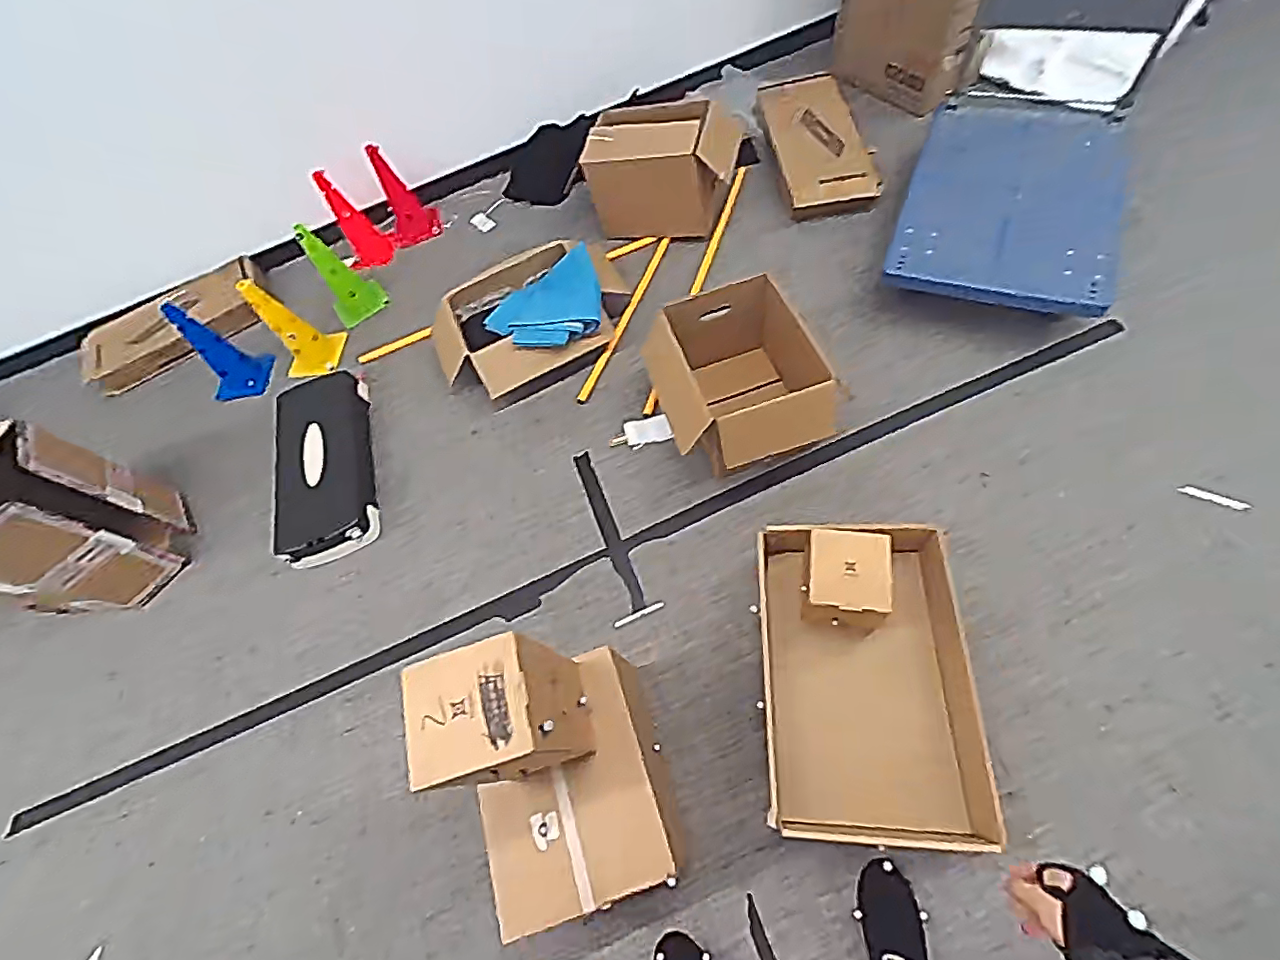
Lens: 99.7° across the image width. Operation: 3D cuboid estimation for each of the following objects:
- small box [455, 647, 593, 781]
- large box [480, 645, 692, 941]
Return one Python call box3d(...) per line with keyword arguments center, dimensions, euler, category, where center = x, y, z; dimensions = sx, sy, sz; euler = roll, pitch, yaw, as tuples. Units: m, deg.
box3d(center=(-0.199, 0.415, 0.954), dimensions=(0.179, 0.176, 0.168), euler=(-19, 63, 1), category="small box")
box3d(center=(-0.116, 0.611, 1.117), dimensions=(0.320, 0.320, 0.408), euler=(-22, 62, 0), category="large box")
